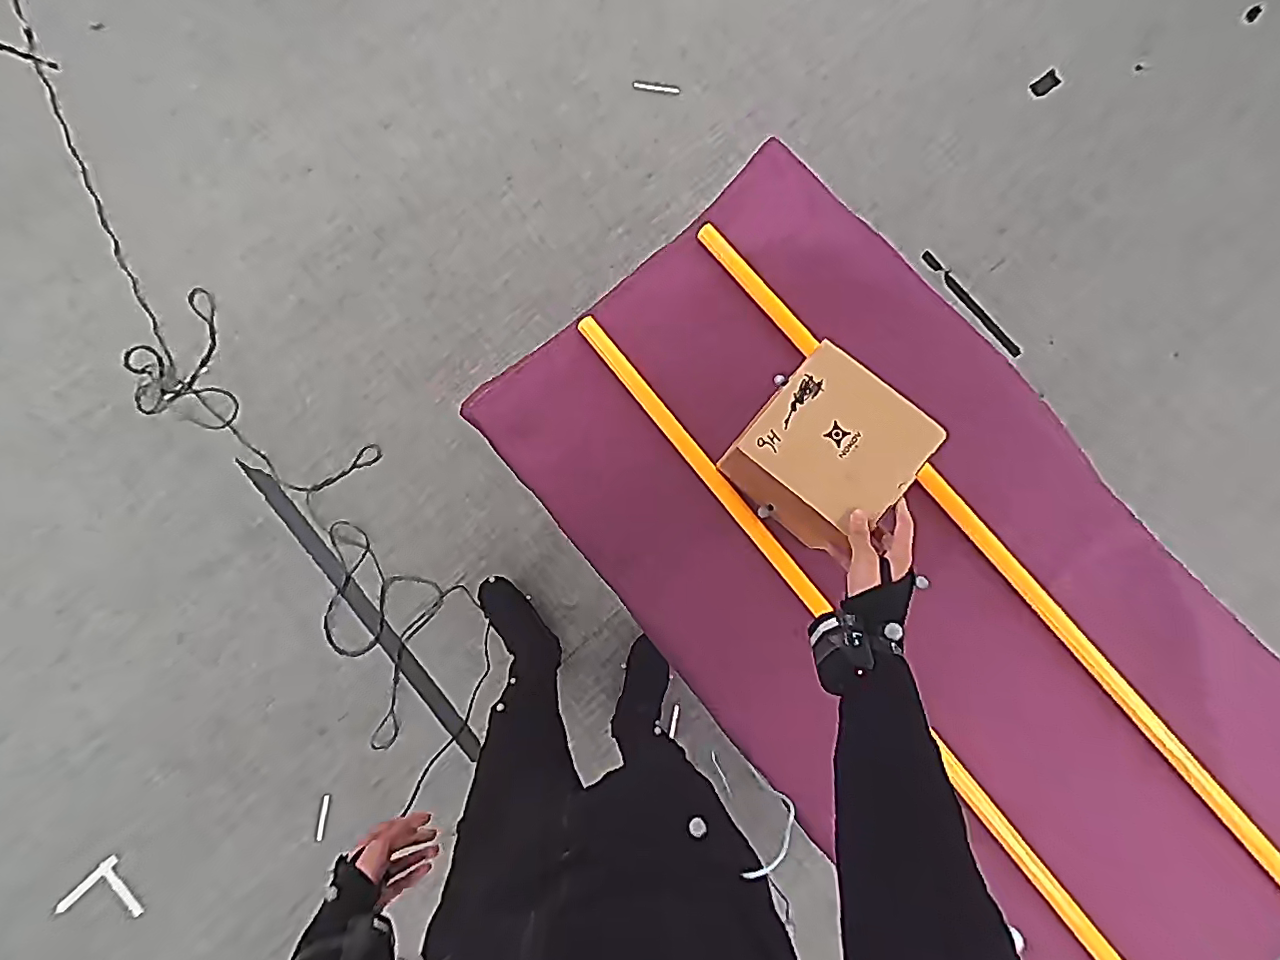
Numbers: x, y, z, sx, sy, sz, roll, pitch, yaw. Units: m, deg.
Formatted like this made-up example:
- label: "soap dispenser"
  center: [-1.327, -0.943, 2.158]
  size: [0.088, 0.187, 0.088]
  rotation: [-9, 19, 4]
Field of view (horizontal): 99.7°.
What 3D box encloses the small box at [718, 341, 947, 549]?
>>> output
- label: "small box"
  center: [0.222, -0.034, 0.671]
  size: [0.179, 0.176, 0.168]
  rotation: [40, 84, 4]
